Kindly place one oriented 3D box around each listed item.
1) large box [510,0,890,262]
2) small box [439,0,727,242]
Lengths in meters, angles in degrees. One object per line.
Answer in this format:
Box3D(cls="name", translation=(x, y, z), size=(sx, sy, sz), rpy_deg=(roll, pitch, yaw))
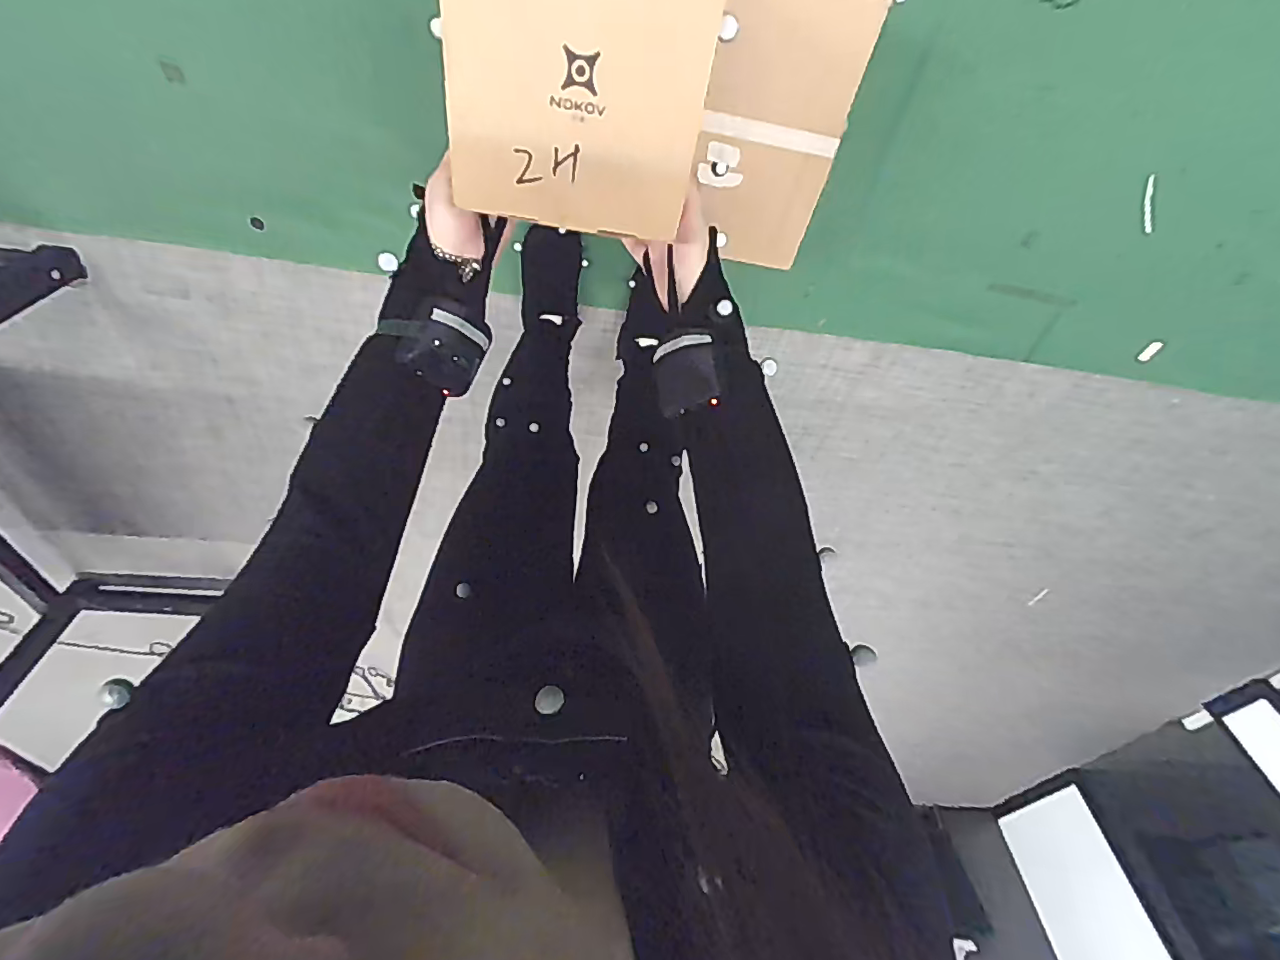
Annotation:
Box3D(cls="large box", translation=(0.041, -0.535, 0.736), size=(0.408, 0.320, 0.320), rpy_deg=(6, 134, -9))
Box3D(cls="small box", translation=(-0.042, -0.302, 0.392), size=(0.168, 0.176, 0.179), rpy_deg=(6, 132, -8))
